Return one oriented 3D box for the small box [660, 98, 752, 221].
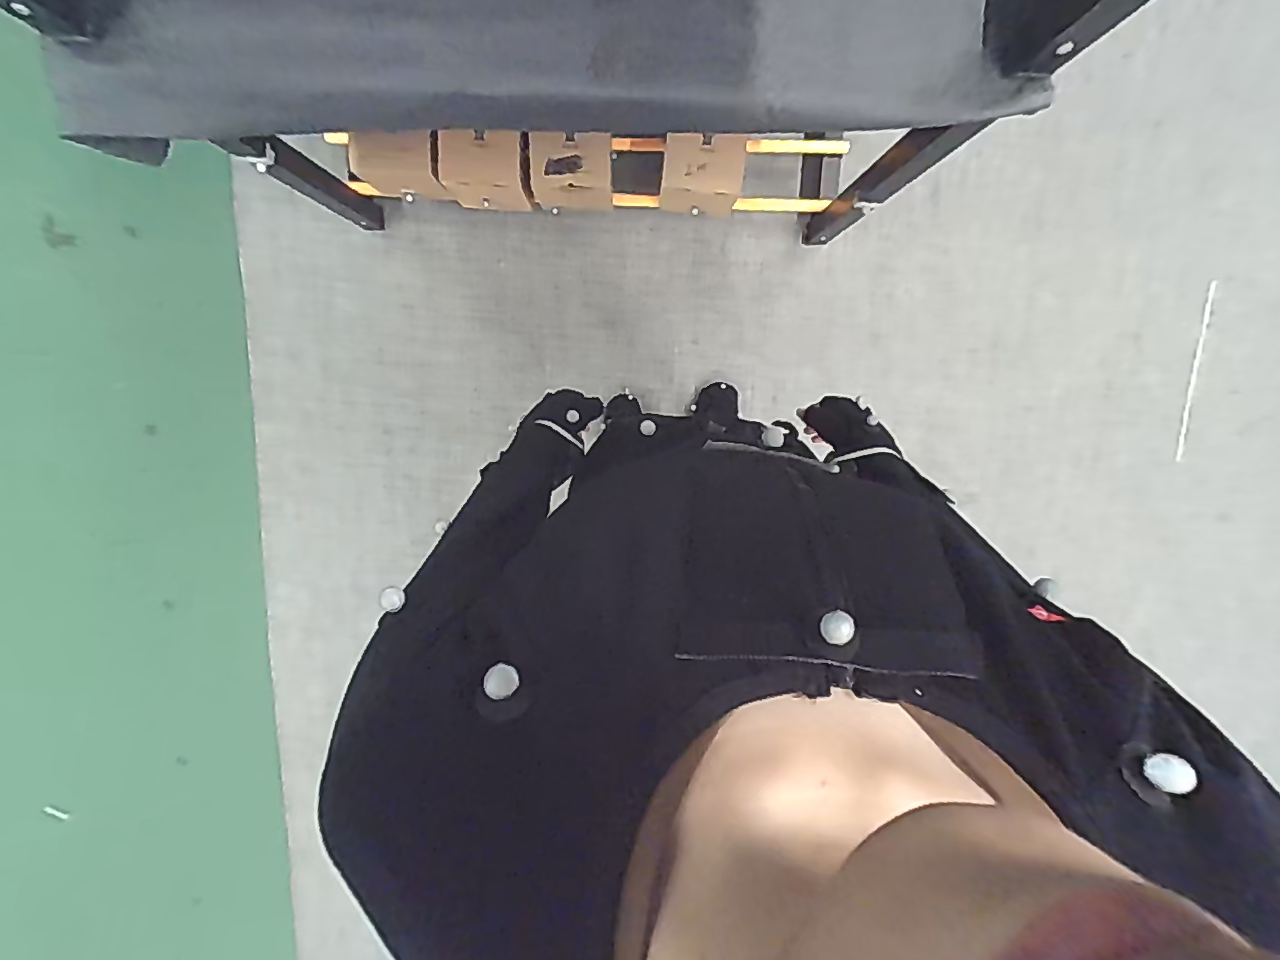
[{"bbox_3d":[0.136,-0.692,1.185,0.168,0.176,0.179,6,102,-1],"label":"small box"}]
